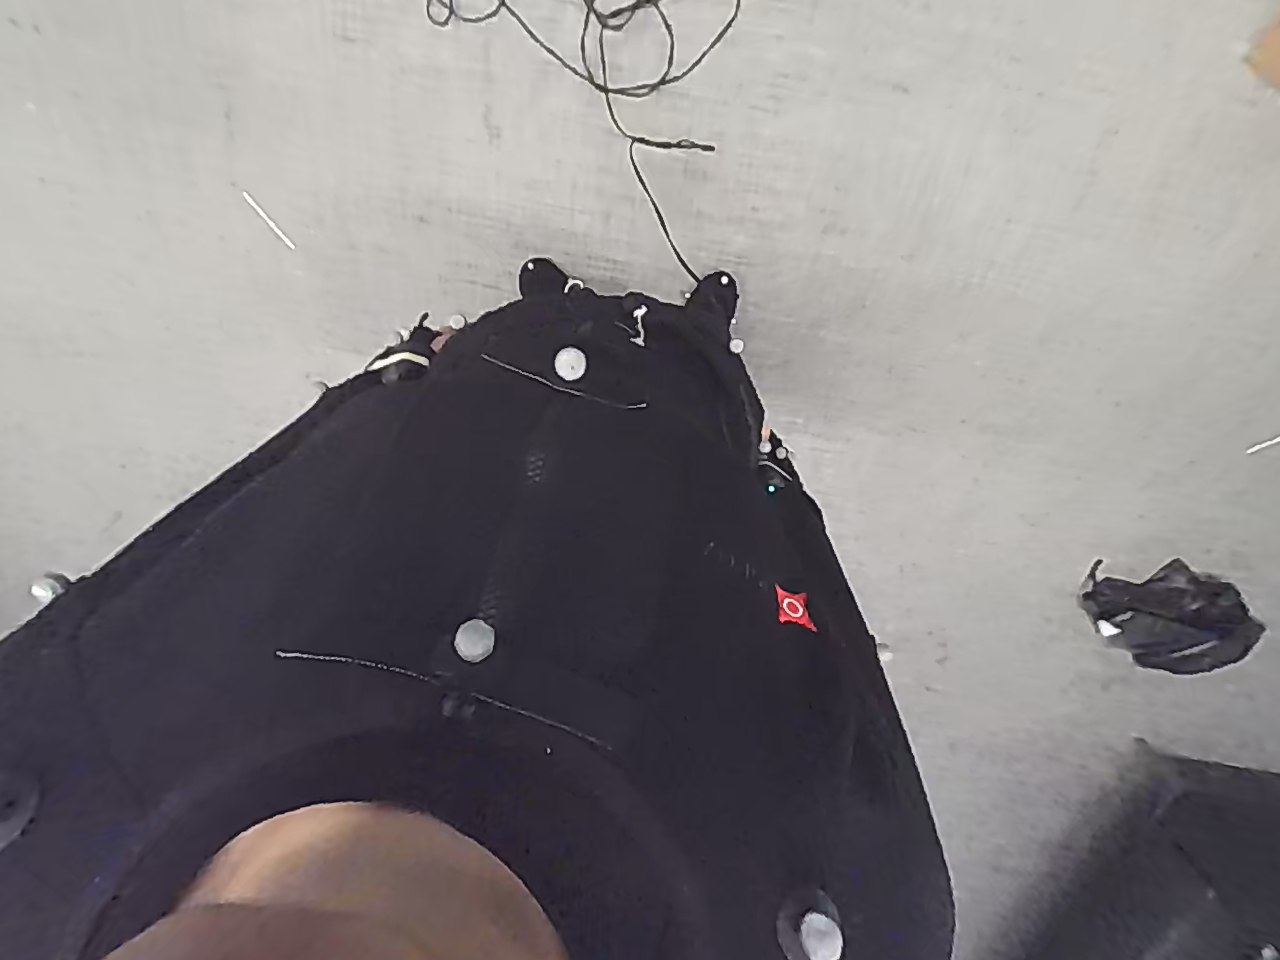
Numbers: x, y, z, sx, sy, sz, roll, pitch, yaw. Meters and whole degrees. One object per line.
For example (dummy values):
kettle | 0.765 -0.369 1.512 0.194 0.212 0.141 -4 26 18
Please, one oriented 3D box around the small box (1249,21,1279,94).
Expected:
small box | 1.244 -0.772 0.924 0.179 0.176 0.168 28 113 -9
